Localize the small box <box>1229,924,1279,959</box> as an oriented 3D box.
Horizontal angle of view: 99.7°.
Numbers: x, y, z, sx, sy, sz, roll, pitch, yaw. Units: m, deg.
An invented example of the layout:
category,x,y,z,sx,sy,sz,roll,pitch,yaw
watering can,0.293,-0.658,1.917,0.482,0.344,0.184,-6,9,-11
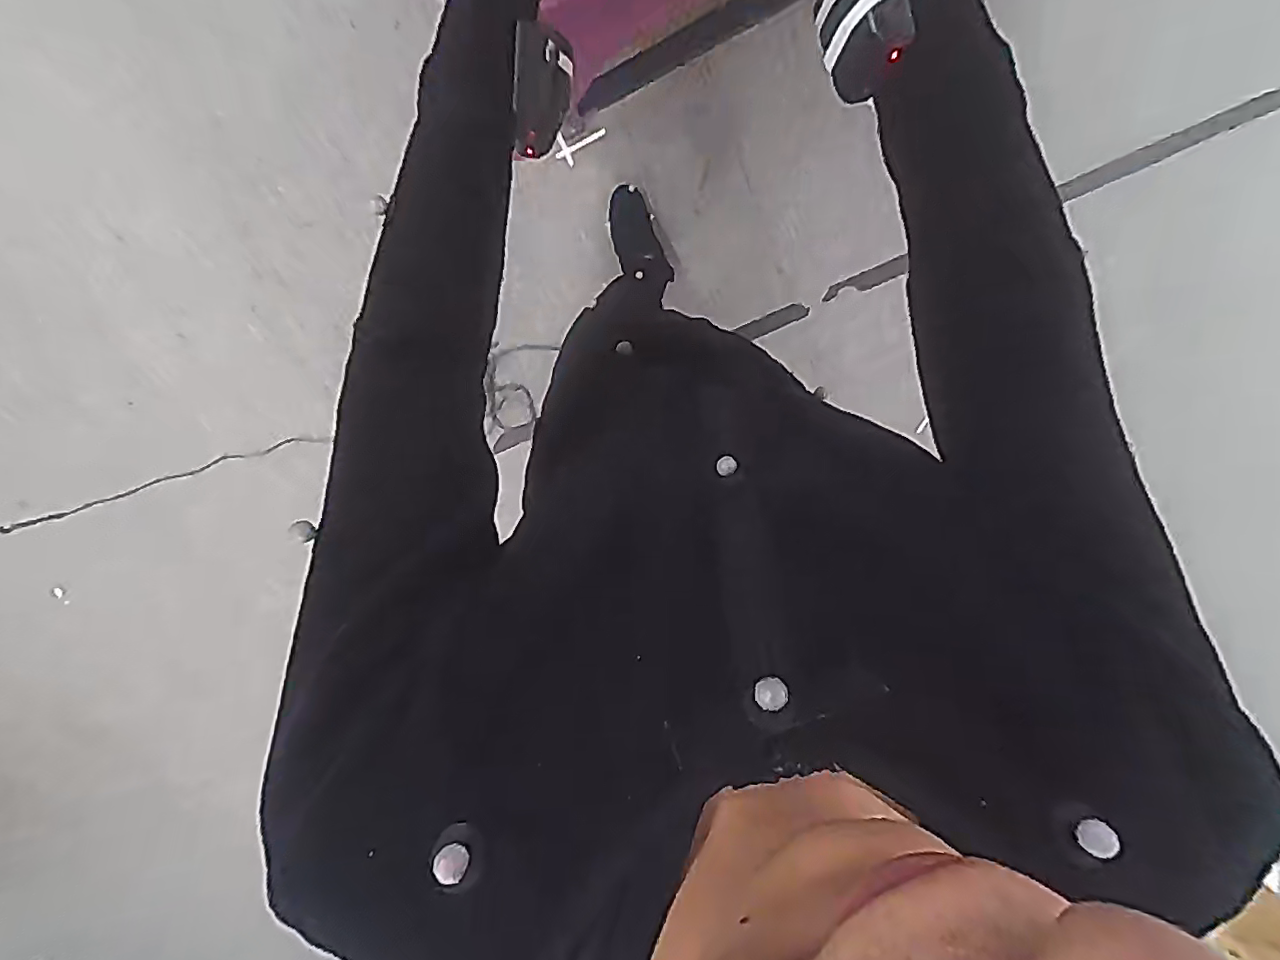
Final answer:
category,x,y,z,sx,sy,sz,roll,pitch,yaw
small box,1.570,1.205,1.287,0.168,0.176,0.179,-20,112,5
